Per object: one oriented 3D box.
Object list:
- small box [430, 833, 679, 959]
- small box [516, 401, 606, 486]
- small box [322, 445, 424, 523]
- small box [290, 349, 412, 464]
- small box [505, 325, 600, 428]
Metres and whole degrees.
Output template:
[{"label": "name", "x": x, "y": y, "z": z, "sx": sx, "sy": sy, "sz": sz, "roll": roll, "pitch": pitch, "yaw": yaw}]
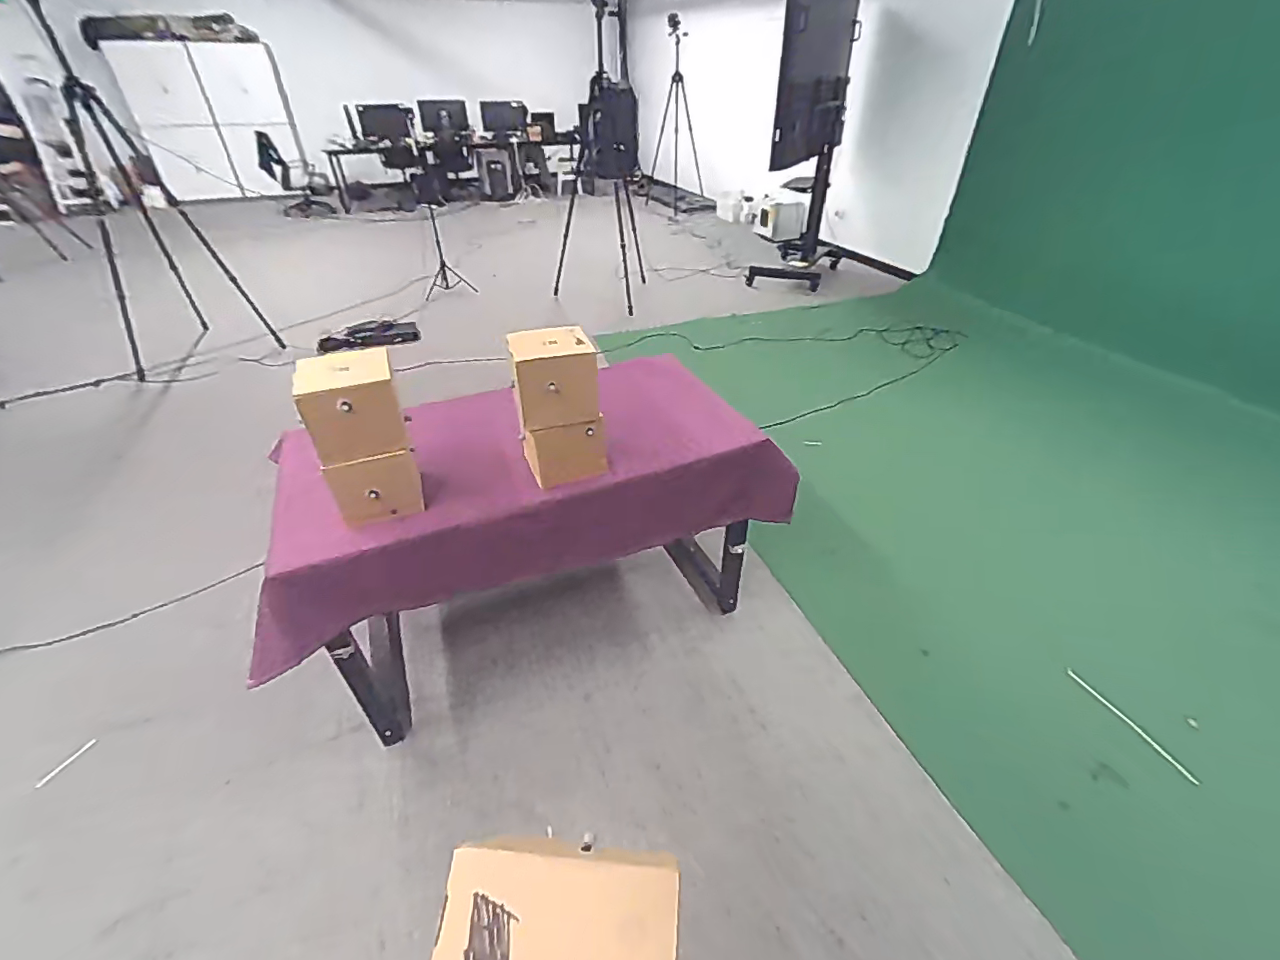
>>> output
[{"label": "small box", "x": -0.061, "y": 0.394, "z": 0.438, "sx": 0.179, "sy": 0.176, "sz": 0.168, "roll": 3, "pitch": 60, "yaw": 4}, {"label": "small box", "x": -0.190, "y": -0.105, "z": 1.330, "sx": 0.179, "sy": 0.176, "sz": 0.168, "roll": -14, "pitch": 39, "yaw": -18}, {"label": "small box", "x": -0.595, "y": -0.020, "z": 1.221, "sx": 0.168, "sy": 0.176, "sz": 0.179, "roll": -13, "pitch": 39, "yaw": -17}, {"label": "small box", "x": -0.592, "y": -0.152, "z": 1.125, "sx": 0.179, "sy": 0.176, "sz": 0.168, "roll": -14, "pitch": 40, "yaw": -18}, {"label": "small box", "x": -0.197, "y": -0.233, "z": 1.226, "sx": 0.179, "sy": 0.176, "sz": 0.168, "roll": -12, "pitch": 38, "yaw": -14}]
